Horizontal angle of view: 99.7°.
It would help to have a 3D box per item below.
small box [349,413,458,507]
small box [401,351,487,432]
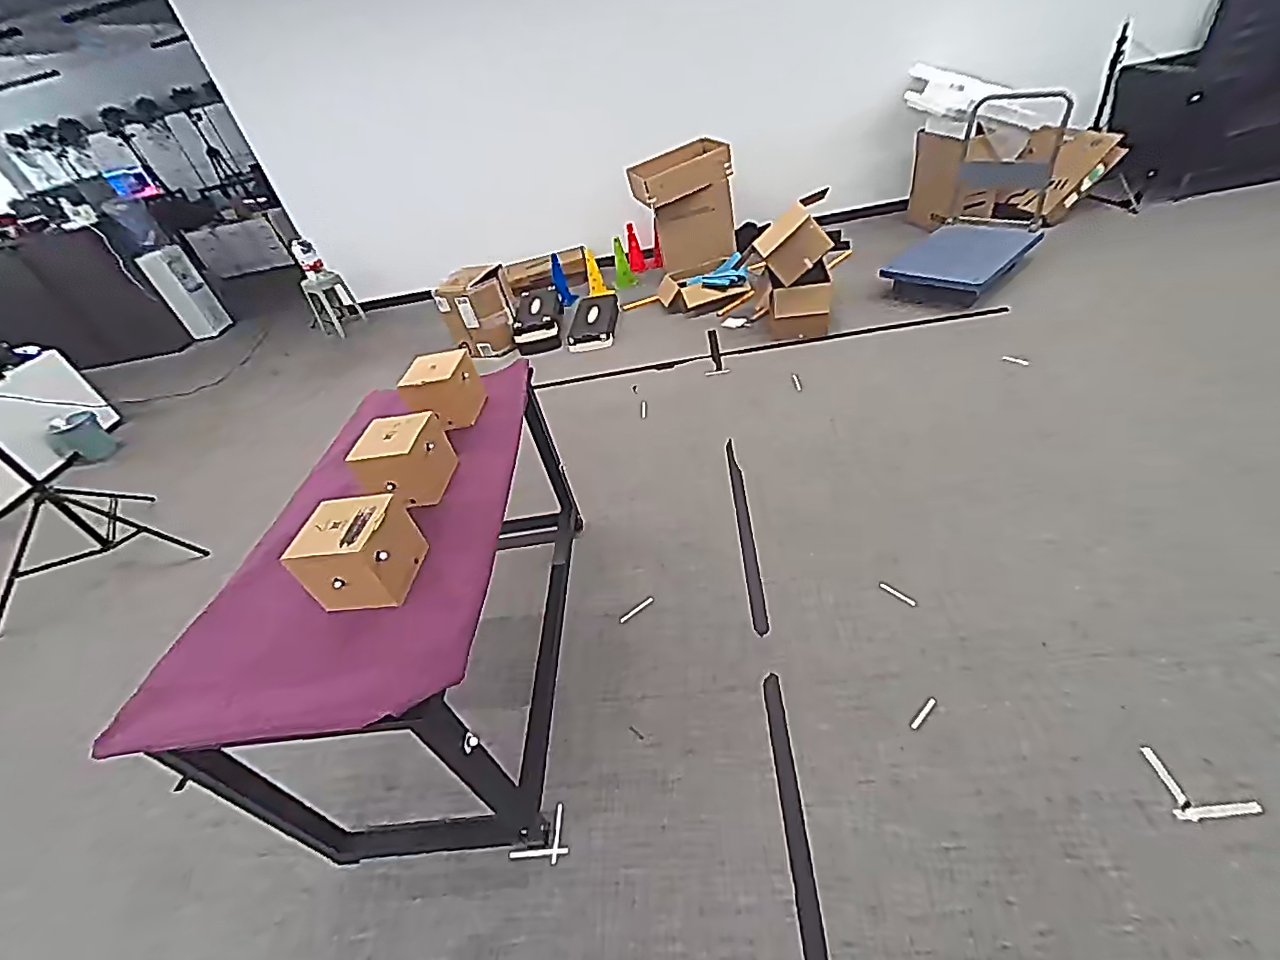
[{"bbox_3d":[-0.584,-0.045,1.365,0.168,0.176,0.179,-6,39,9],"label":"small box"},{"bbox_3d":[-0.577,-0.262,1.622,0.168,0.176,0.179,-7,41,10],"label":"small box"}]
